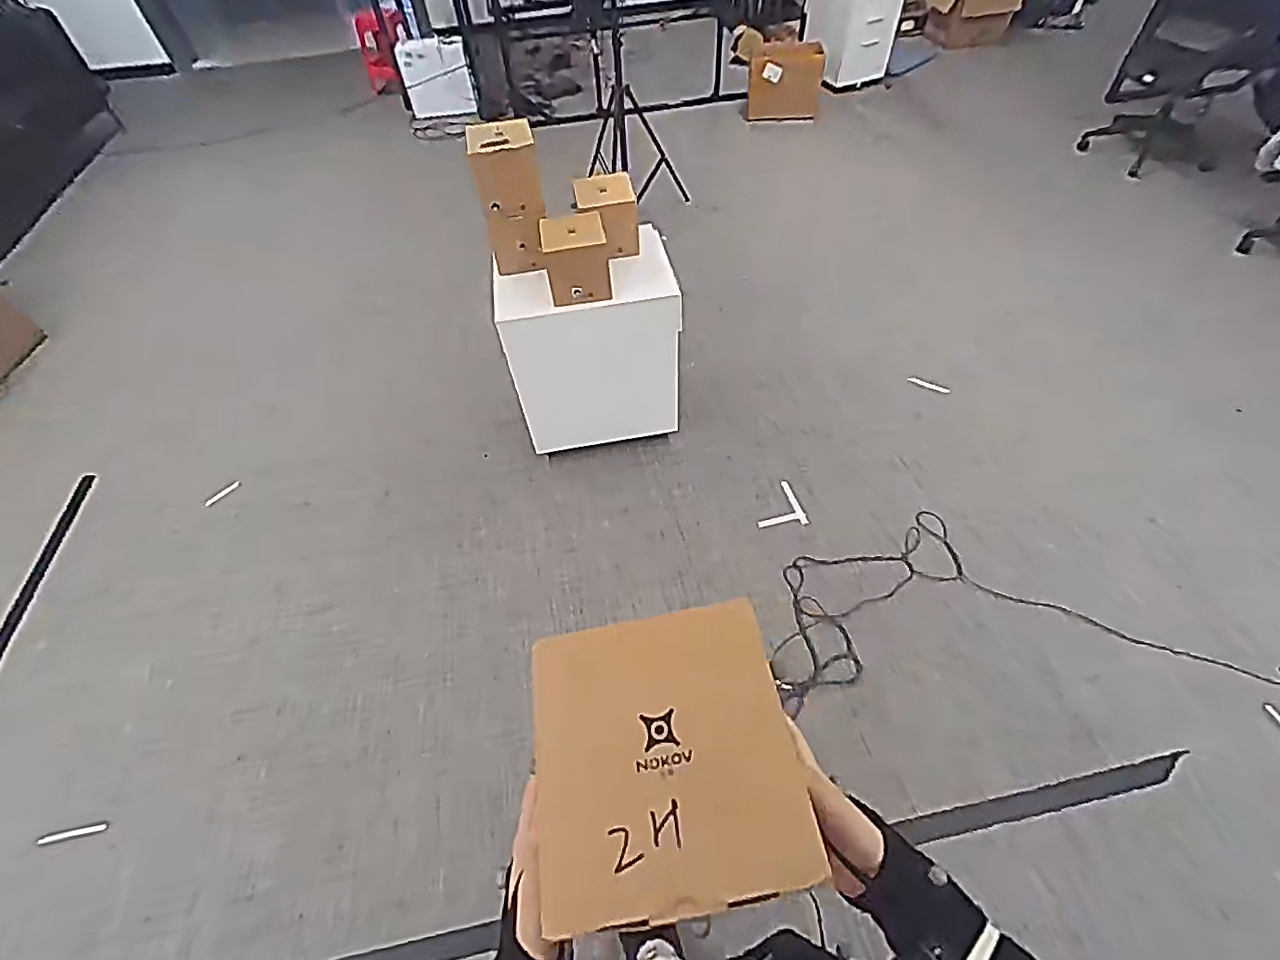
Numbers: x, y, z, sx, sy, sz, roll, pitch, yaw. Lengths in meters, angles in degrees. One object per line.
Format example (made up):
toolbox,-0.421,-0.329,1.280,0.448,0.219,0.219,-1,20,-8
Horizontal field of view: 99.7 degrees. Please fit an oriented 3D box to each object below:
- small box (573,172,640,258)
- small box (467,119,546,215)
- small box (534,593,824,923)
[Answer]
small box,-0.096,-0.774,1.598,0.168,0.176,0.179,-10,53,-3
small box,-0.354,-0.829,1.448,0.168,0.176,0.179,-12,53,-6
small box,0.022,0.214,0.417,0.168,0.176,0.179,-12,54,1
